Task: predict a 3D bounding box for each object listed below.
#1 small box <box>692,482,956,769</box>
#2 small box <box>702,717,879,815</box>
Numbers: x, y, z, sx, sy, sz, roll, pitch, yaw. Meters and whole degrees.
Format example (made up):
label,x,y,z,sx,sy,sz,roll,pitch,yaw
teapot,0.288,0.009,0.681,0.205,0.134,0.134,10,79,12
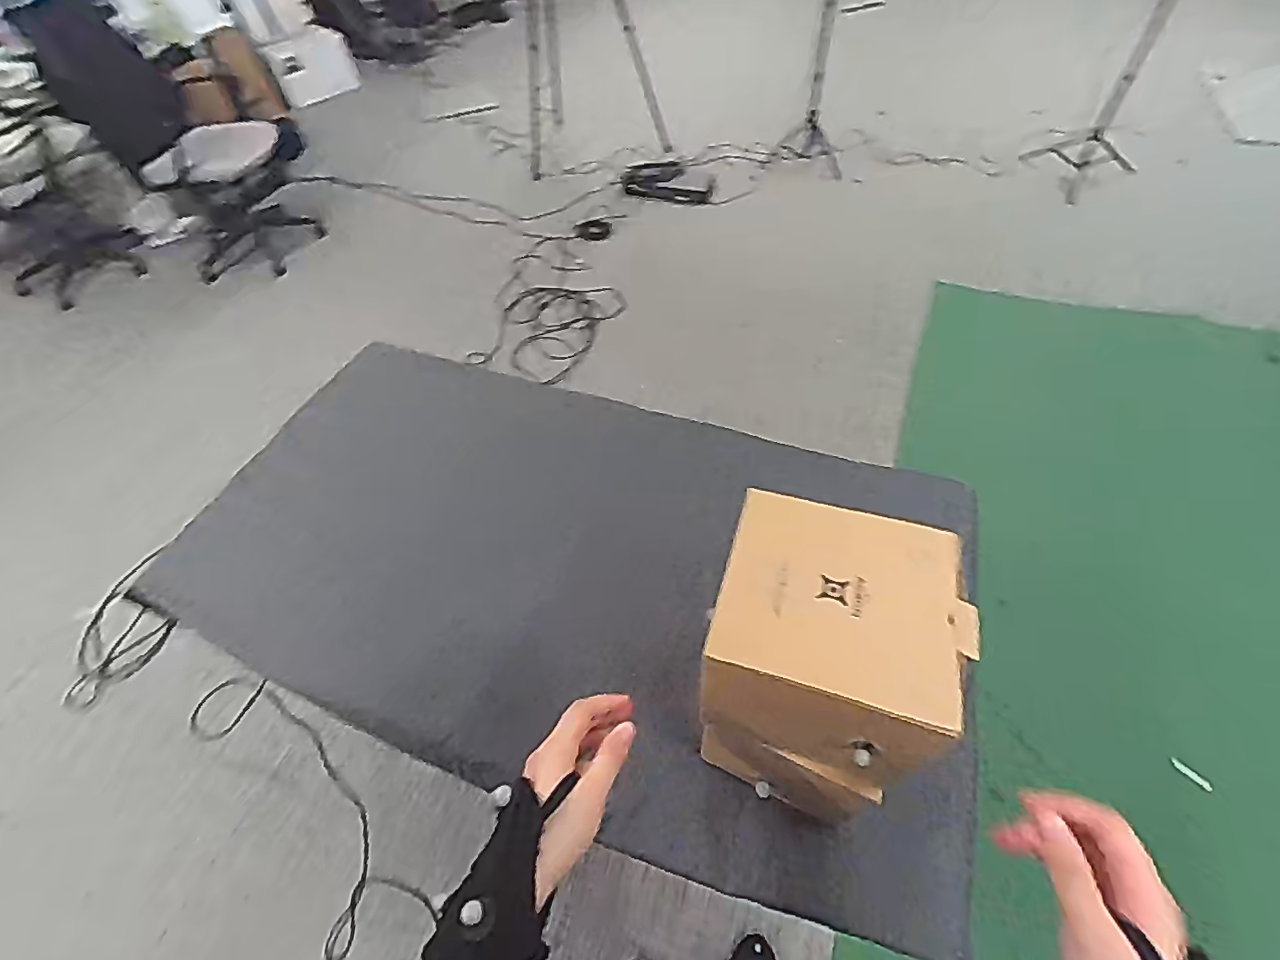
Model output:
label,x,y,z,sx,sy,sz,roll,pitch,yaw
small box,0.151,0.130,0.474,0.179,0.176,0.168,12,52,16
small box,0.172,0.234,0.598,0.168,0.176,0.179,20,56,20
